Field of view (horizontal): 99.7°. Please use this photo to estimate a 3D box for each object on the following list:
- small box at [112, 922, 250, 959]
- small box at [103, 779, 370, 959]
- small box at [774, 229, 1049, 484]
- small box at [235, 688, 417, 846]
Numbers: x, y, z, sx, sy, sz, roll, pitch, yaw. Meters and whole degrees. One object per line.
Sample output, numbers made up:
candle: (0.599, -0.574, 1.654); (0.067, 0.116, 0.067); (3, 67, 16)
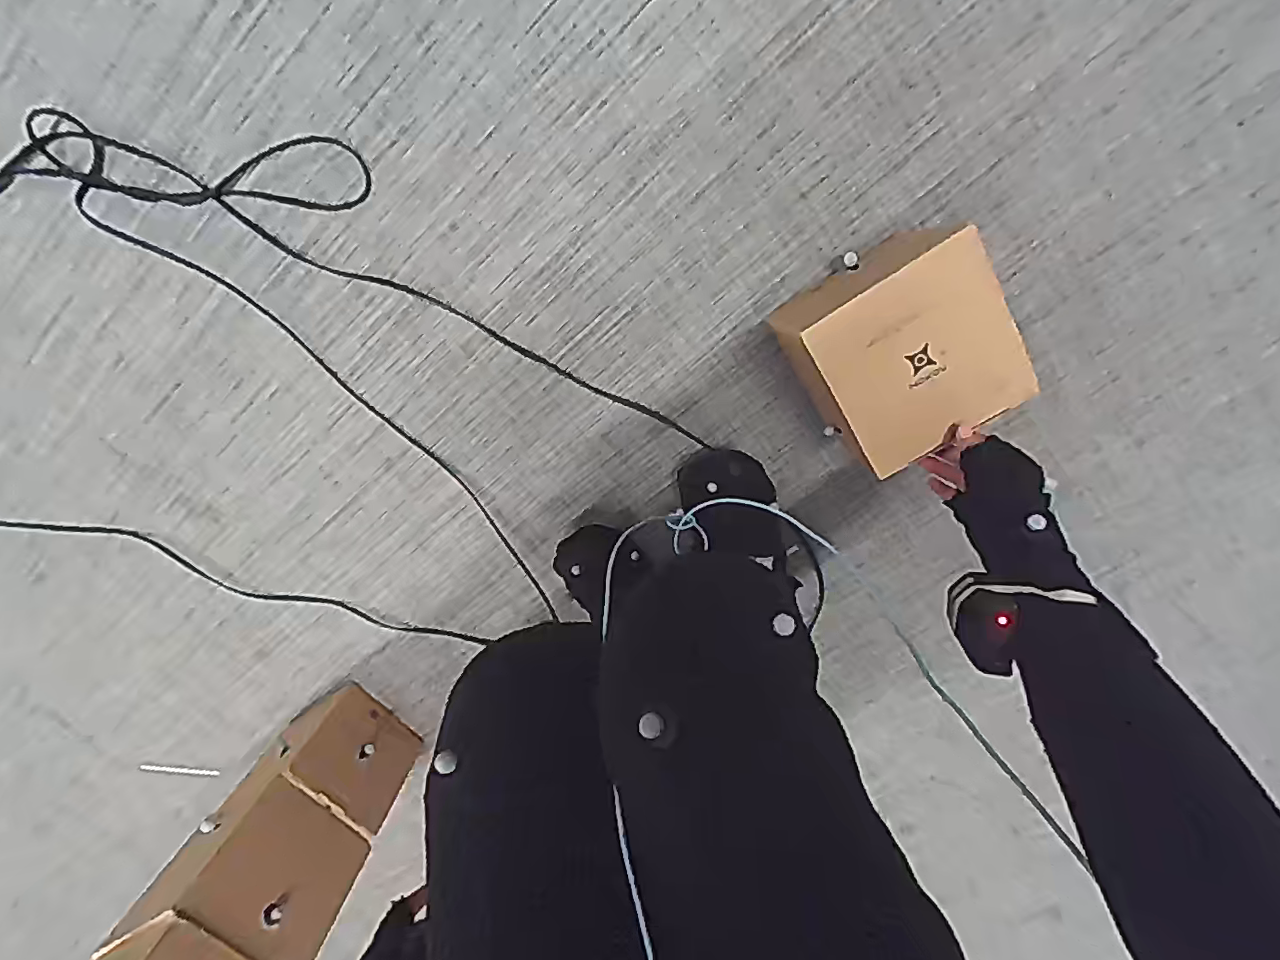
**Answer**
small box: (-0.491, 0.596, 0.540); (0.168, 0.176, 0.179); (-35, 106, 16)
small box: (-0.490, 0.527, 0.688); (0.168, 0.176, 0.179); (-34, 106, 15)
small box: (0.260, -0.131, 0.555); (0.168, 0.176, 0.179); (-31, 108, 13)
small box: (-0.477, 0.461, 0.838); (0.179, 0.176, 0.168); (-35, 106, 15)
